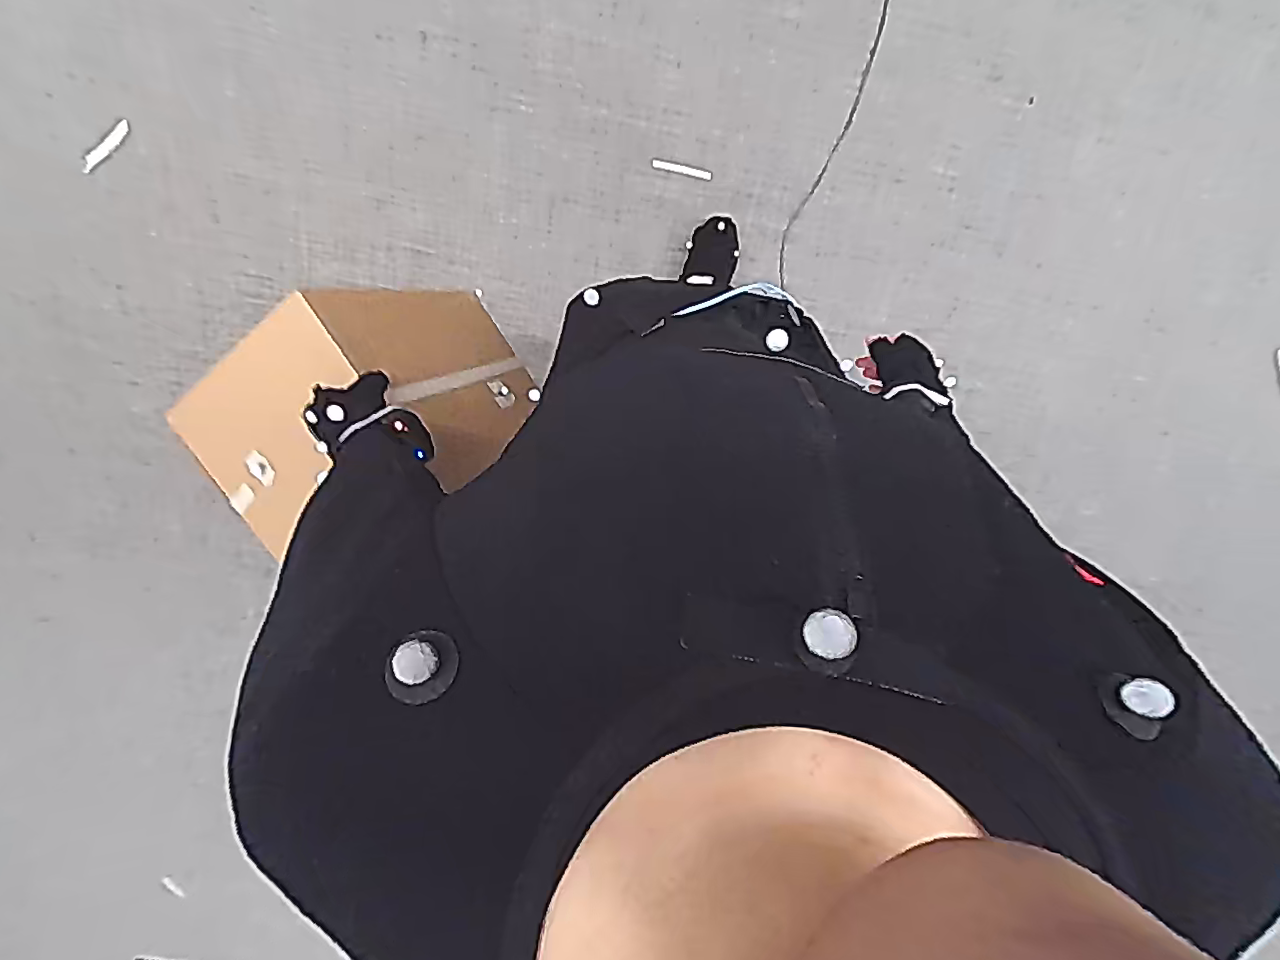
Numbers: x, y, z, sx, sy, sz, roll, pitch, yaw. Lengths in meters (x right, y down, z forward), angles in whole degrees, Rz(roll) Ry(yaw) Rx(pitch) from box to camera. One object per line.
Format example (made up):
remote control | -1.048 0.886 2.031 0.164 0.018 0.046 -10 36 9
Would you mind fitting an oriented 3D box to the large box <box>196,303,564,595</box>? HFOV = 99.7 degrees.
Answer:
large box | -0.394 -0.077 0.917 0.320 0.408 0.320 -30 99 21
